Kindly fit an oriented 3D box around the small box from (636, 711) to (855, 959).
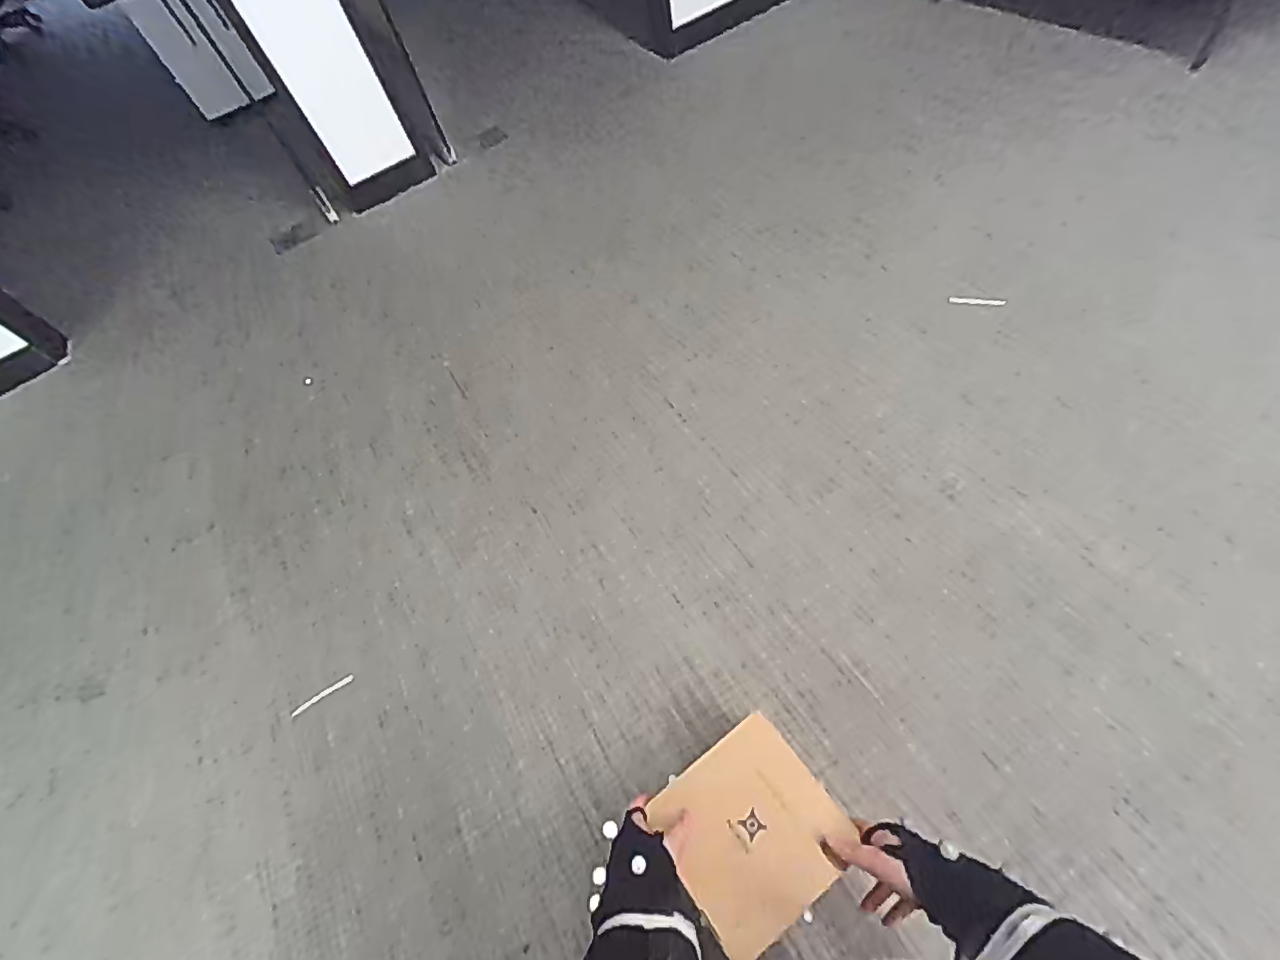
[{"bbox_3d":[0.122,0.410,0.640,0.179,0.176,0.168,-35,59,-11],"label":"small box"}]
